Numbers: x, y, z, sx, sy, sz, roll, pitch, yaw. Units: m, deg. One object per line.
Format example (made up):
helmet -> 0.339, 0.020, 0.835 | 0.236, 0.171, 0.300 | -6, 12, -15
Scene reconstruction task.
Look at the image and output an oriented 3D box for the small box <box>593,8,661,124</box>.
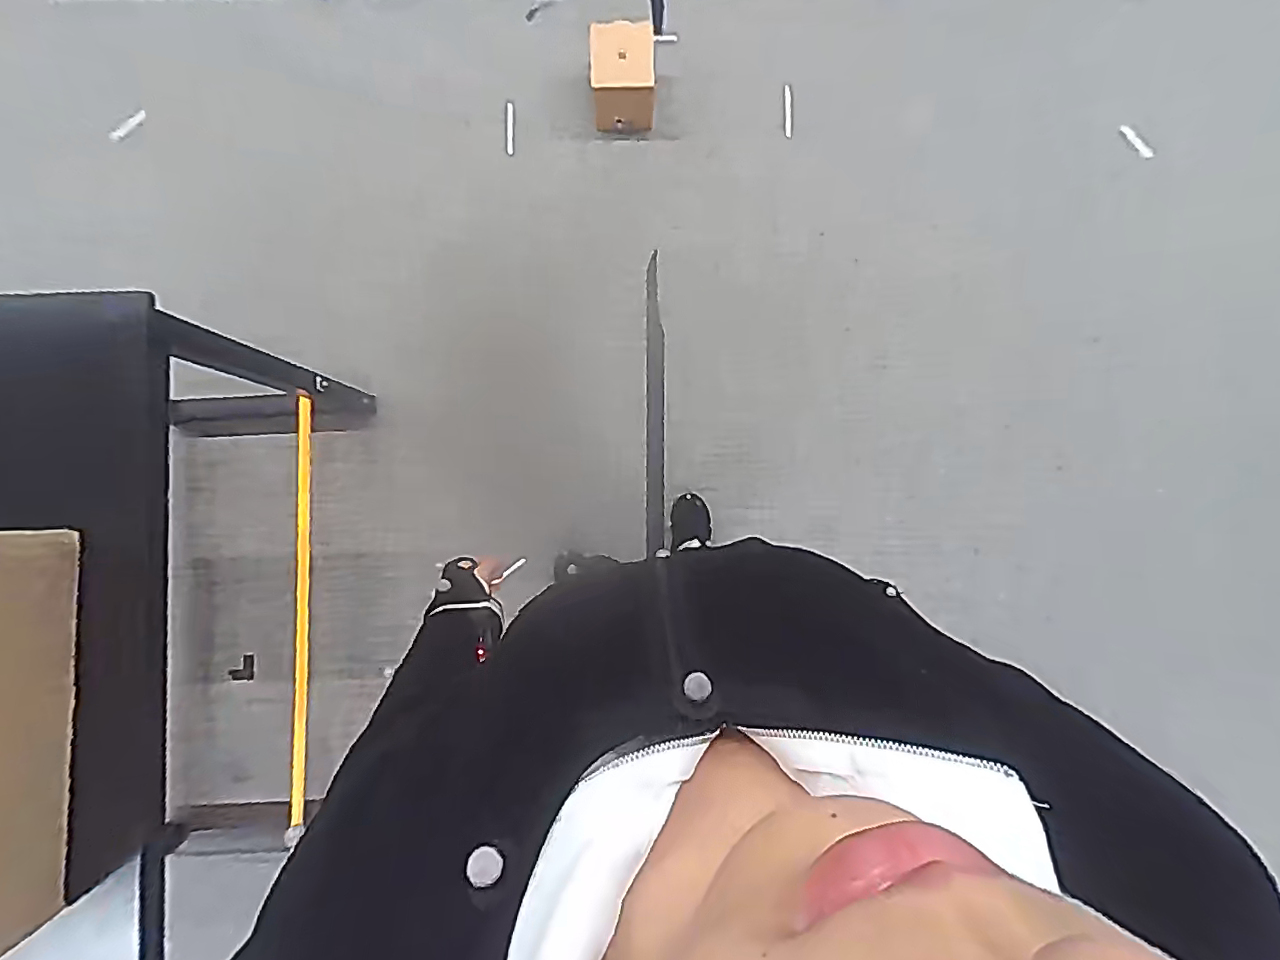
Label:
small box -> -0.033, -1.058, 1.392 | 0.168, 0.176, 0.179 | -2, 89, 0
